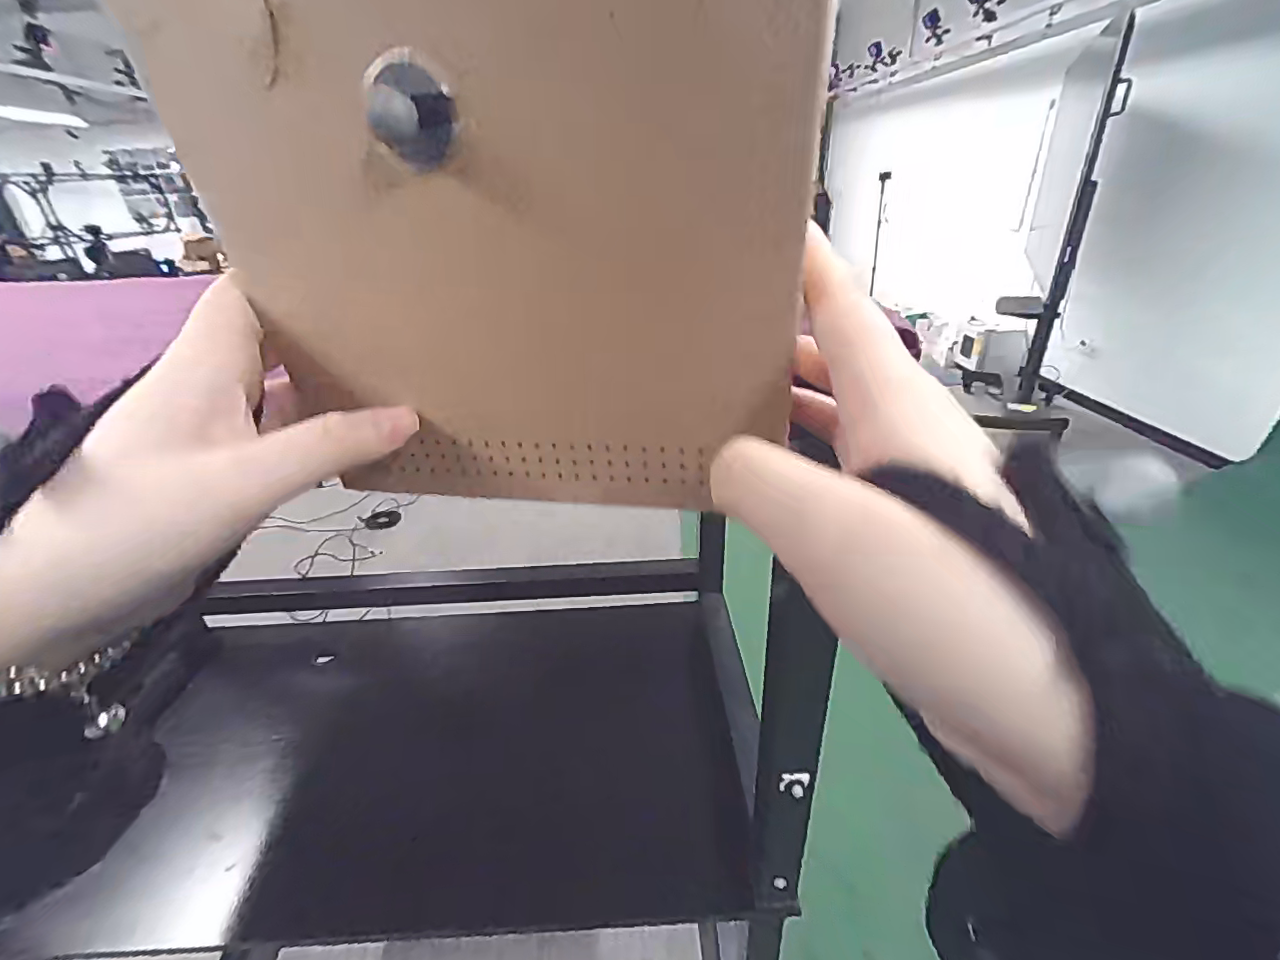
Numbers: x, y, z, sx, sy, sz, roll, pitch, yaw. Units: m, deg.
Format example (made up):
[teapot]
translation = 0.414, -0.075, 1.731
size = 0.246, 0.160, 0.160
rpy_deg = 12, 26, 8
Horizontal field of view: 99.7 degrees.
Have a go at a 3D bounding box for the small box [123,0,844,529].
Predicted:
[small box]
translation = -0.022, -0.096, 0.221
size = 0.179, 0.176, 0.168
rpy_deg = 3, 38, 11
